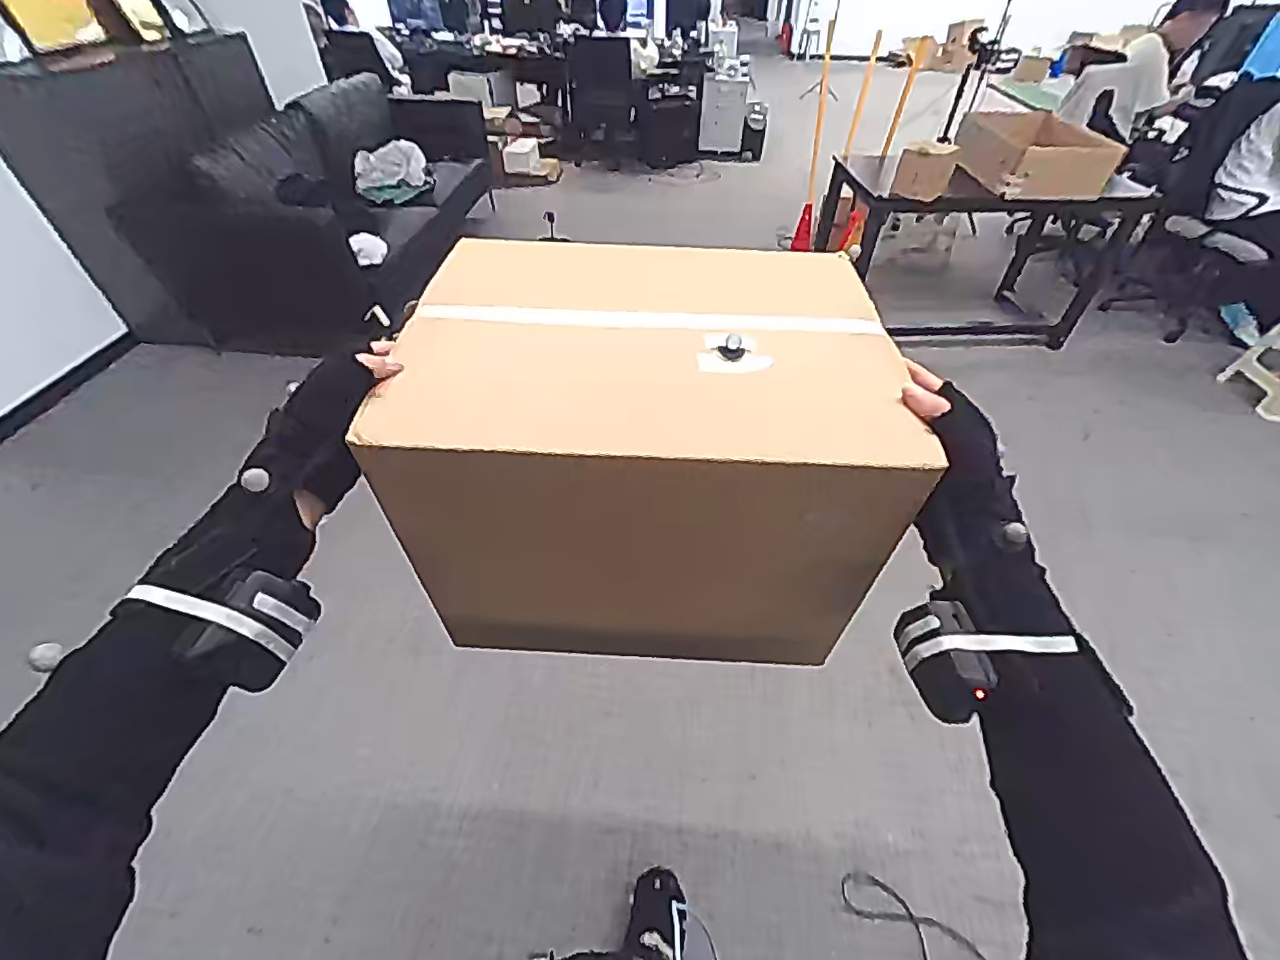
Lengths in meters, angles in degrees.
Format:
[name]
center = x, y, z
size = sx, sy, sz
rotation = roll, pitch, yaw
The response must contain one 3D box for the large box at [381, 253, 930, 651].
[large box]
center = 0.008, -0.026, 0.593
size = 0.408, 0.320, 0.320
rotation = 3, 48, 0
